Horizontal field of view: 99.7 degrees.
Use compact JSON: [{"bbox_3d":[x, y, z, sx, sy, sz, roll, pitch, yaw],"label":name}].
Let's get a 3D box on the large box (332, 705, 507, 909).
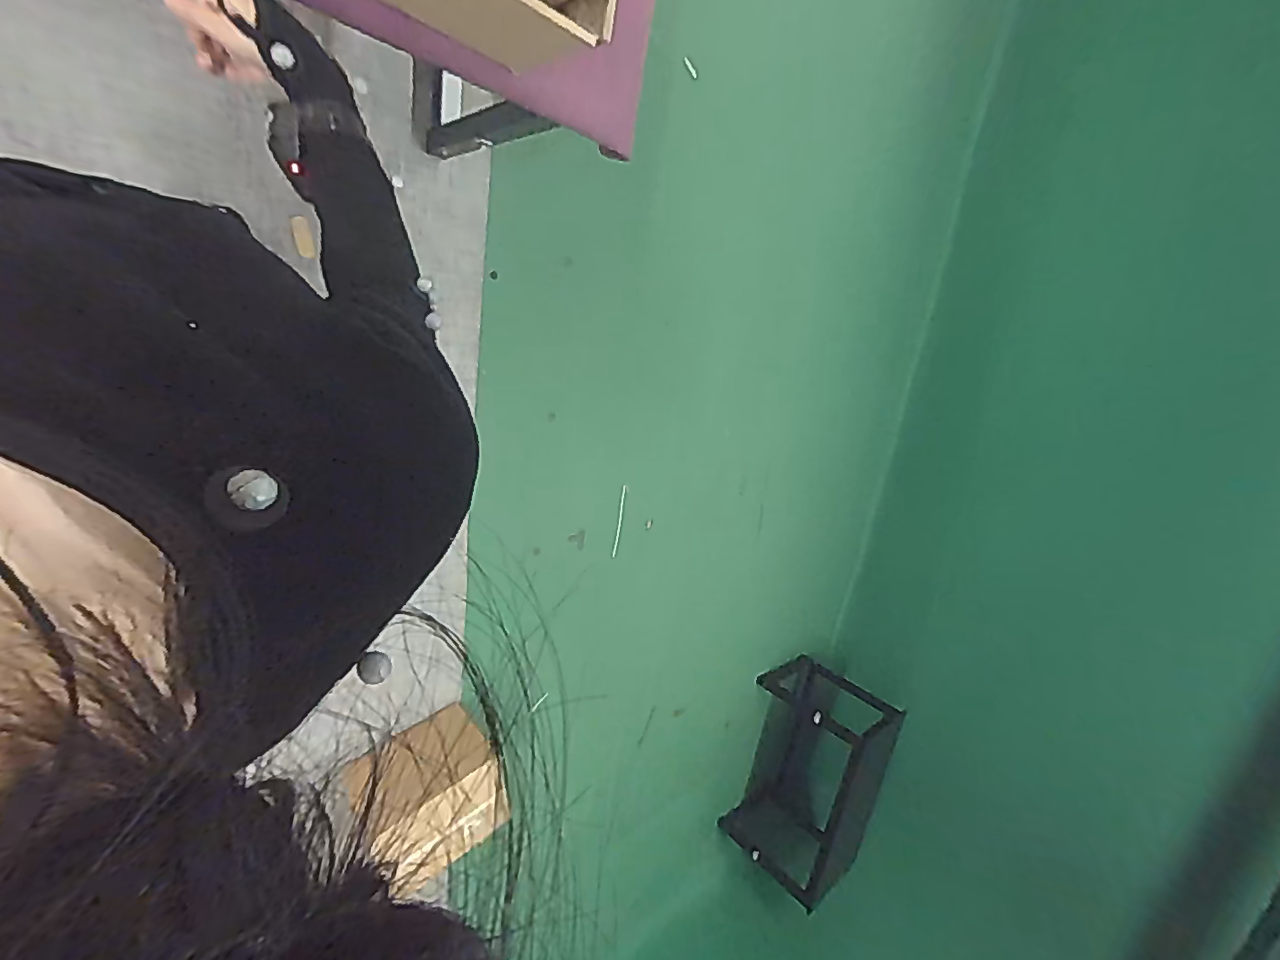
[{"bbox_3d":[-0.704,1.030,1.754,0.408,0.320,0.320,-23,123,-38],"label":"large box"}]
